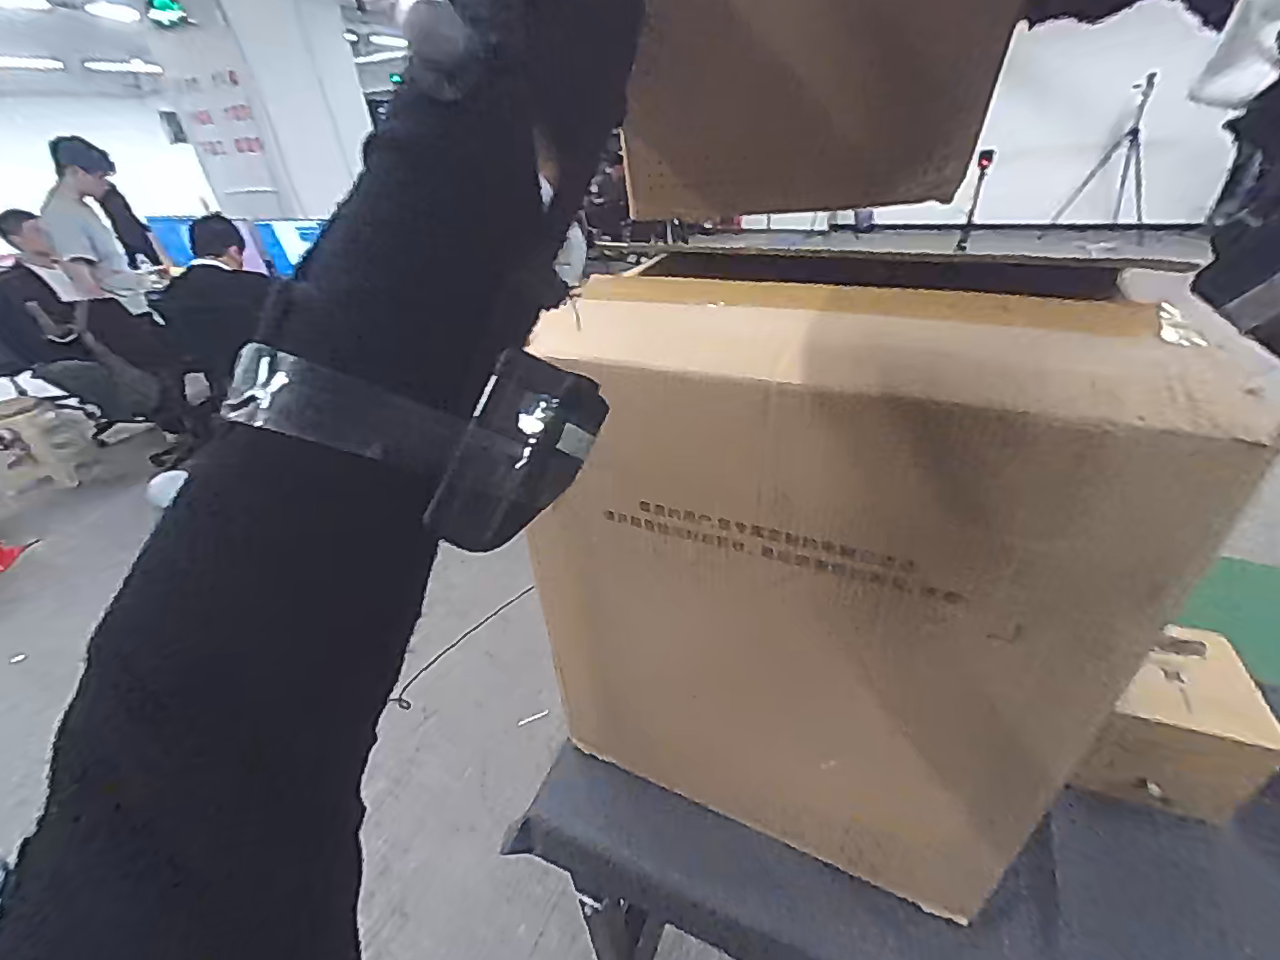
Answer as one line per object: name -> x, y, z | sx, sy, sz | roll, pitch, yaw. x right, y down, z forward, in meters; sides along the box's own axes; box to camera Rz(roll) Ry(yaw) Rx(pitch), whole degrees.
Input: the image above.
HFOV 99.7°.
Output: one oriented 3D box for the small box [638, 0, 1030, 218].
small box -> 0.094, -0.258, 0.287 | 0.179, 0.176, 0.168 | 4, 54, 11
